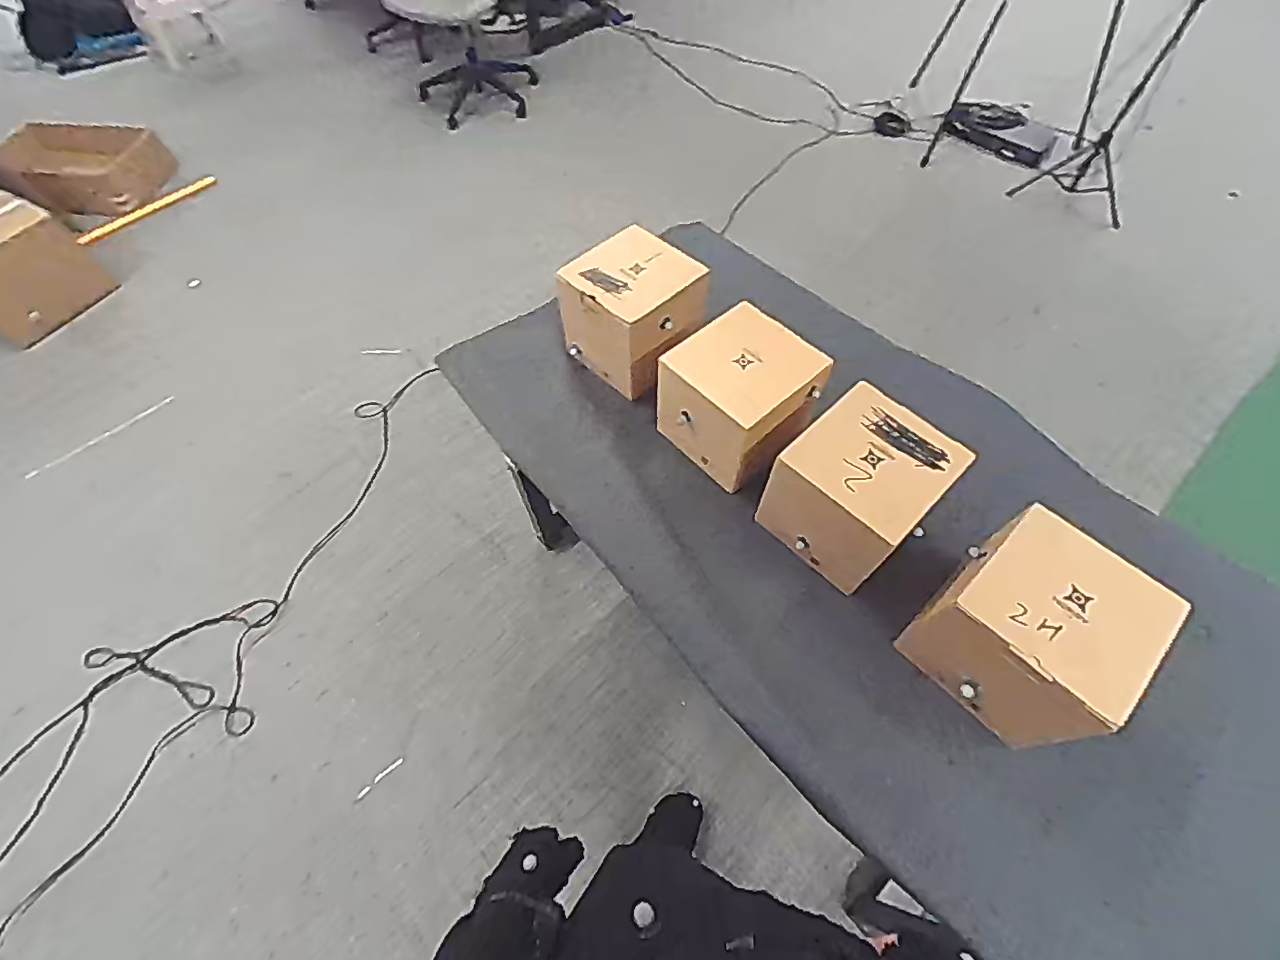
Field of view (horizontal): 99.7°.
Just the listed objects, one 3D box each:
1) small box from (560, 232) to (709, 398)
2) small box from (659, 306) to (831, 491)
[{"bbox_3d":[-0.006,-0.268,0.897,0.179,0.176,0.168,-40,66,-22],"label":"small box"},{"bbox_3d":[0.146,-0.115,0.801,0.179,0.176,0.168,-37,64,-21],"label":"small box"}]
